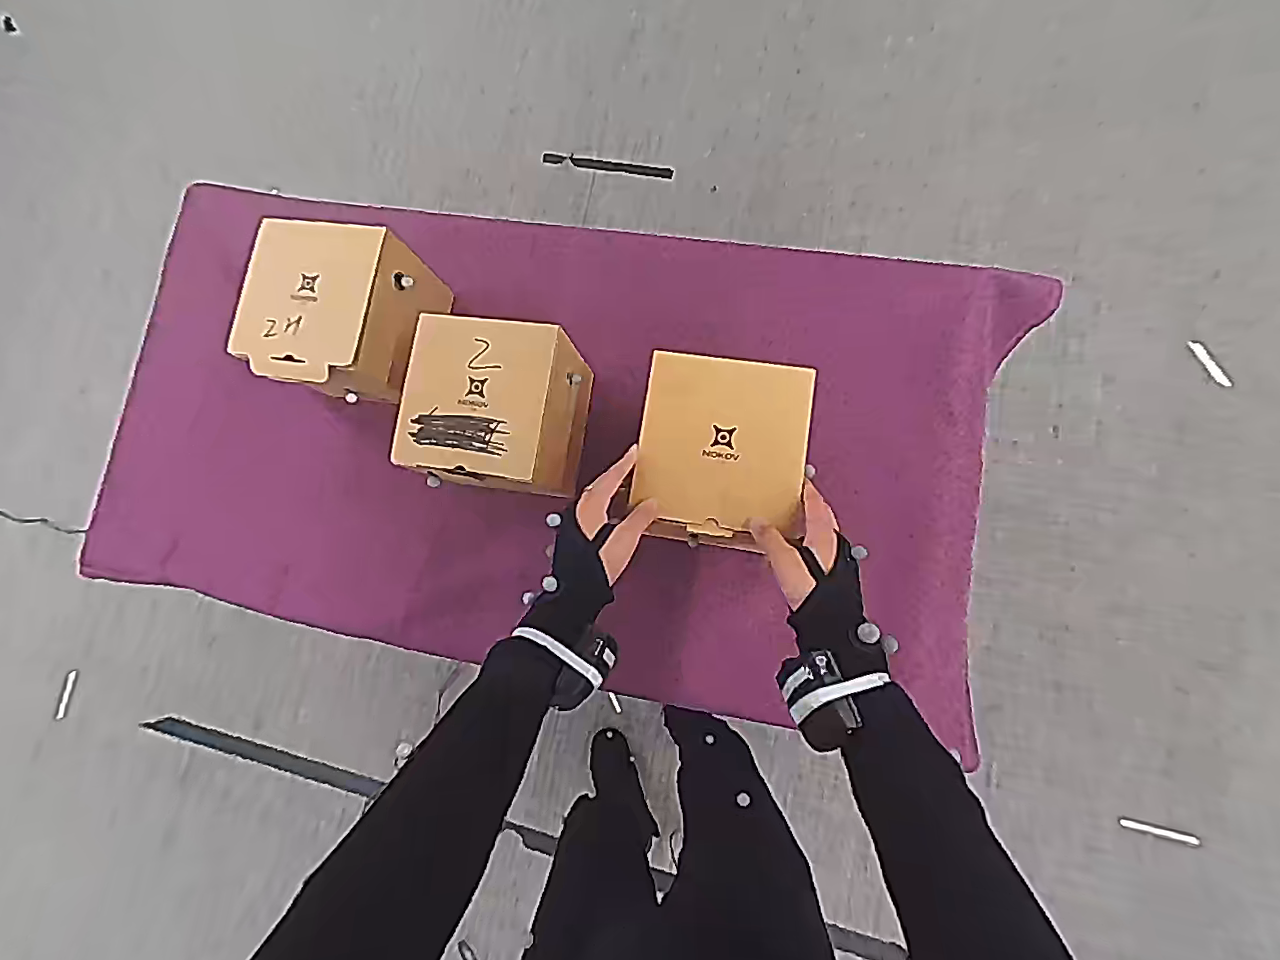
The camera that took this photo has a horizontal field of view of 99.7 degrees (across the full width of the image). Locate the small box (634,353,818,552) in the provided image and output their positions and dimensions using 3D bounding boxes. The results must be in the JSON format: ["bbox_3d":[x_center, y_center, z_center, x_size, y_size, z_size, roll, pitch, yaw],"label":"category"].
[{"bbox_3d":[0.092,-0.021,0.614,0.168,0.176,0.179,8,80,7],"label":"small box"}]

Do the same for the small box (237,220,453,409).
[{"bbox_3d":[-0.368,-0.207,0.709,0.168,0.176,0.179,9,84,9],"label":"small box"}]
